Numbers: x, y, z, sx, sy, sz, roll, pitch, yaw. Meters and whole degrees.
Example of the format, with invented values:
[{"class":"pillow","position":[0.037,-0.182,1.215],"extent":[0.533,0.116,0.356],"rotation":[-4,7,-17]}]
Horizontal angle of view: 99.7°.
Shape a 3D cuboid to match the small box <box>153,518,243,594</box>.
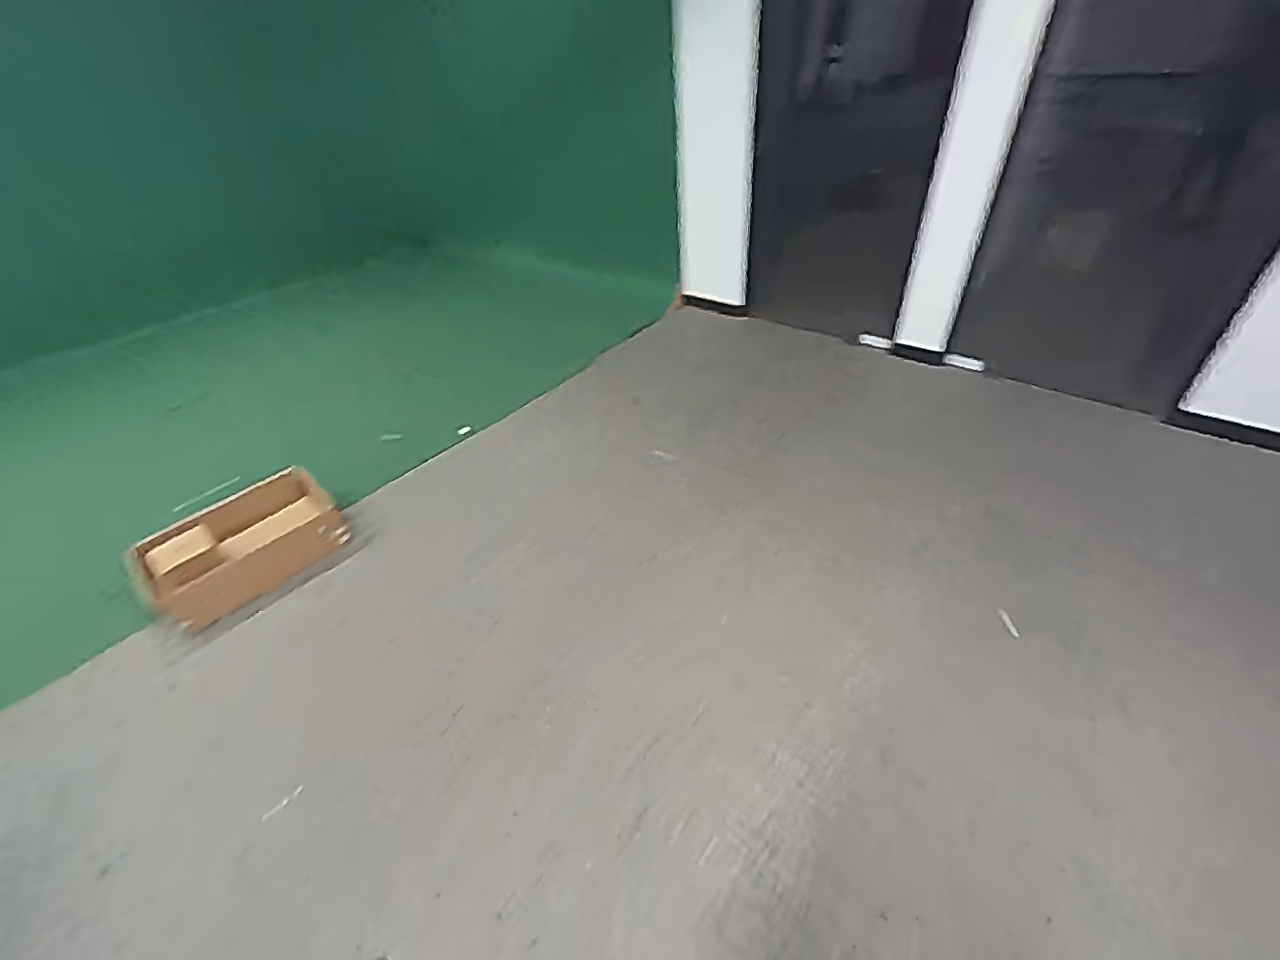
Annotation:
[{"class":"small box","position":[-1.588,0.276,1.948],"extent":[0.168,0.176,0.179],"rotation":[30,50,33]}]
